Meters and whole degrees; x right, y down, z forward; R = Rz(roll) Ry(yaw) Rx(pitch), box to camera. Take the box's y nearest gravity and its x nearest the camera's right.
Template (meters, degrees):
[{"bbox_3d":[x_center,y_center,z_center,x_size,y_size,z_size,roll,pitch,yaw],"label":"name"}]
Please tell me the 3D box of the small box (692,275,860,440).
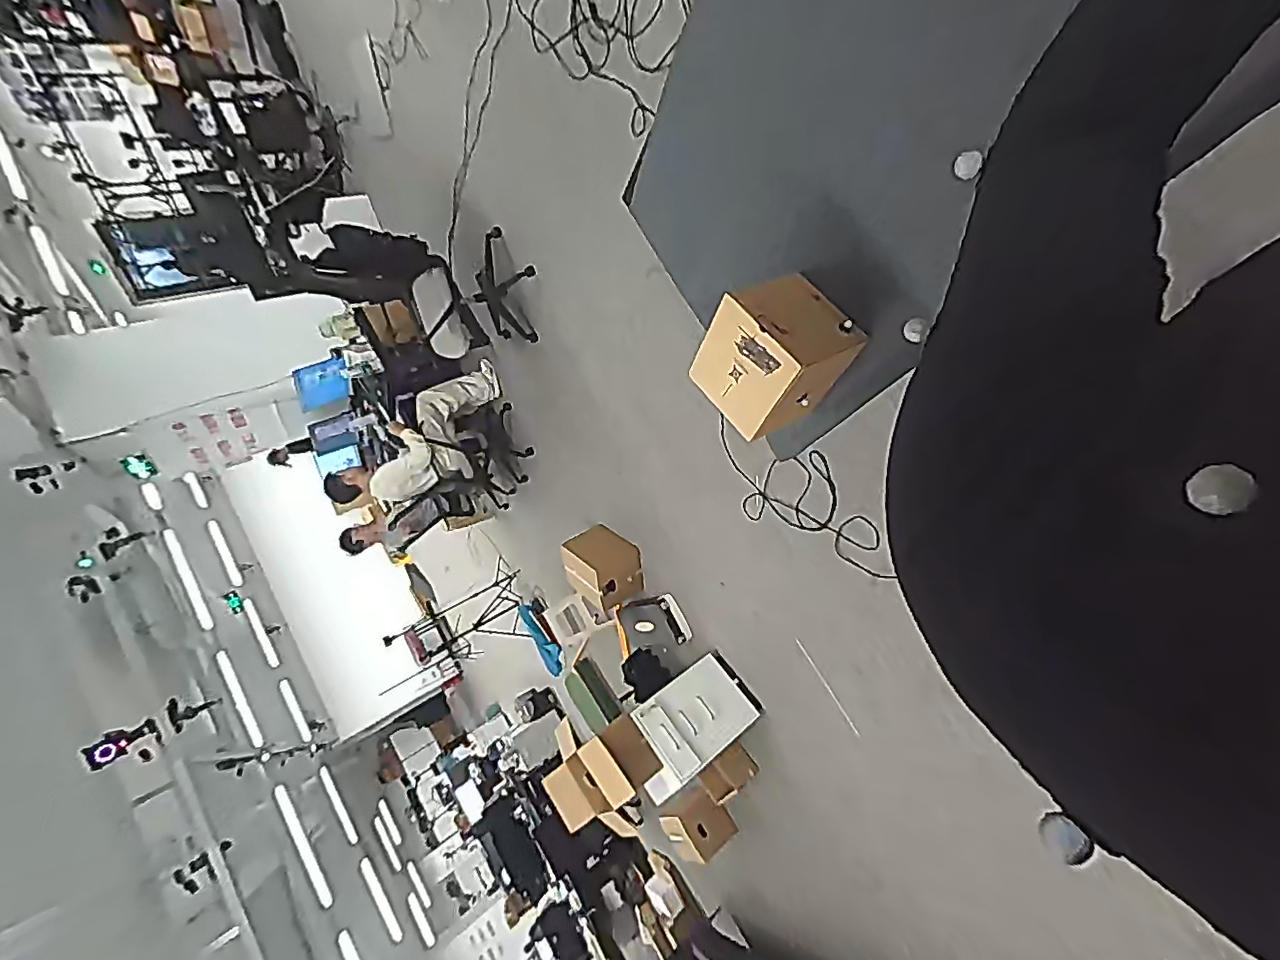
[{"bbox_3d":[0.219,-0.200,0.867,0.168,0.176,0.179,52,148,18],"label":"small box"}]
